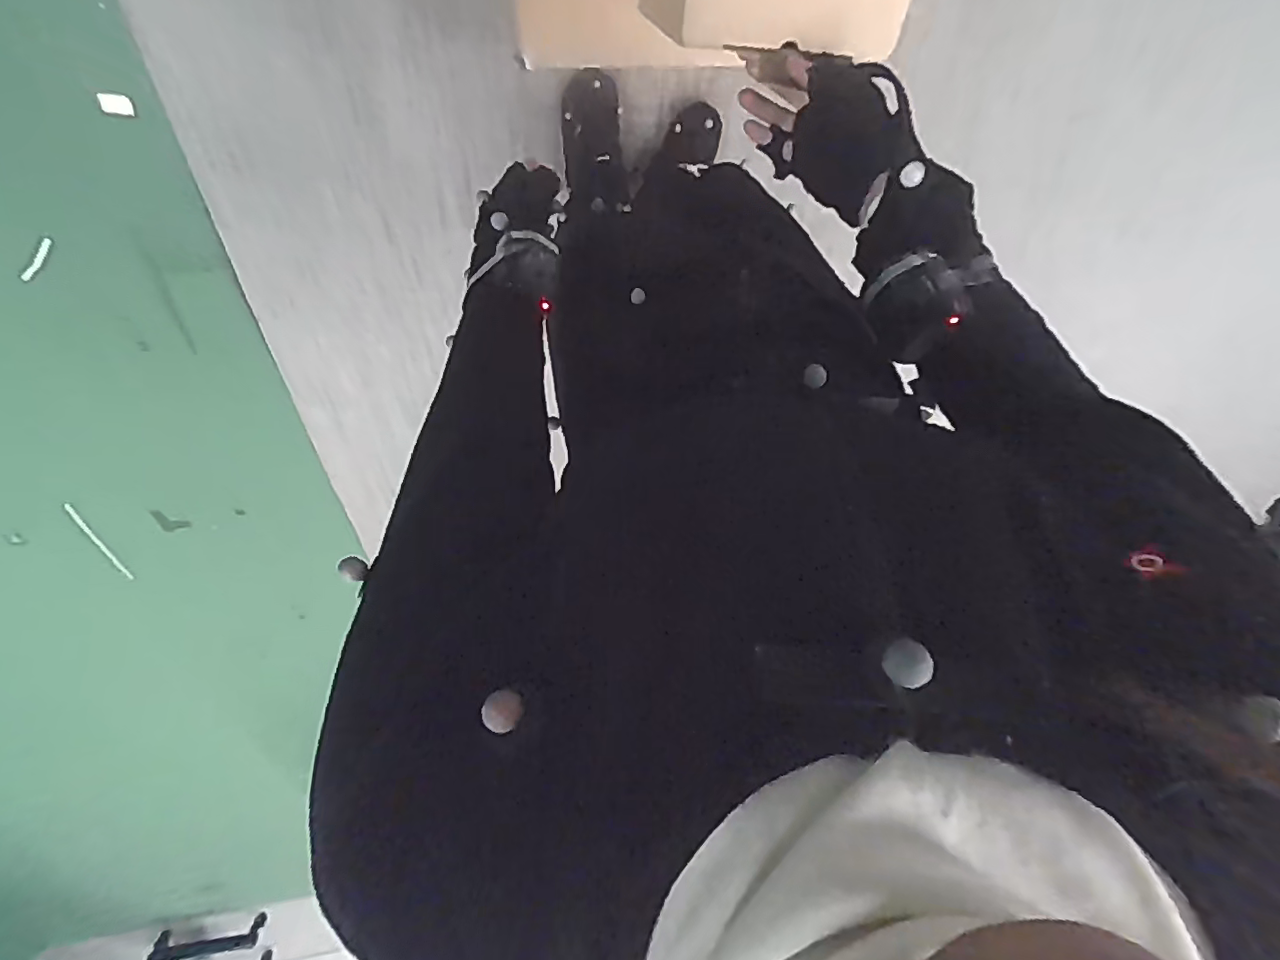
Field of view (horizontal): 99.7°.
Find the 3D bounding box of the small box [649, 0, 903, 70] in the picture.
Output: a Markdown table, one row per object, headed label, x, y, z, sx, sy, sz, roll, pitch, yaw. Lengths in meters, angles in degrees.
| label | x | y | z | sx | sy | sz | roll | pitch | yaw |
| --- | --- | --- | --- | --- | --- | --- | --- | --- | --- |
| small box | 0.102 | -0.432 | 0.397 | 0.168 | 0.176 | 0.179 | -4 | 137 | -11 |
